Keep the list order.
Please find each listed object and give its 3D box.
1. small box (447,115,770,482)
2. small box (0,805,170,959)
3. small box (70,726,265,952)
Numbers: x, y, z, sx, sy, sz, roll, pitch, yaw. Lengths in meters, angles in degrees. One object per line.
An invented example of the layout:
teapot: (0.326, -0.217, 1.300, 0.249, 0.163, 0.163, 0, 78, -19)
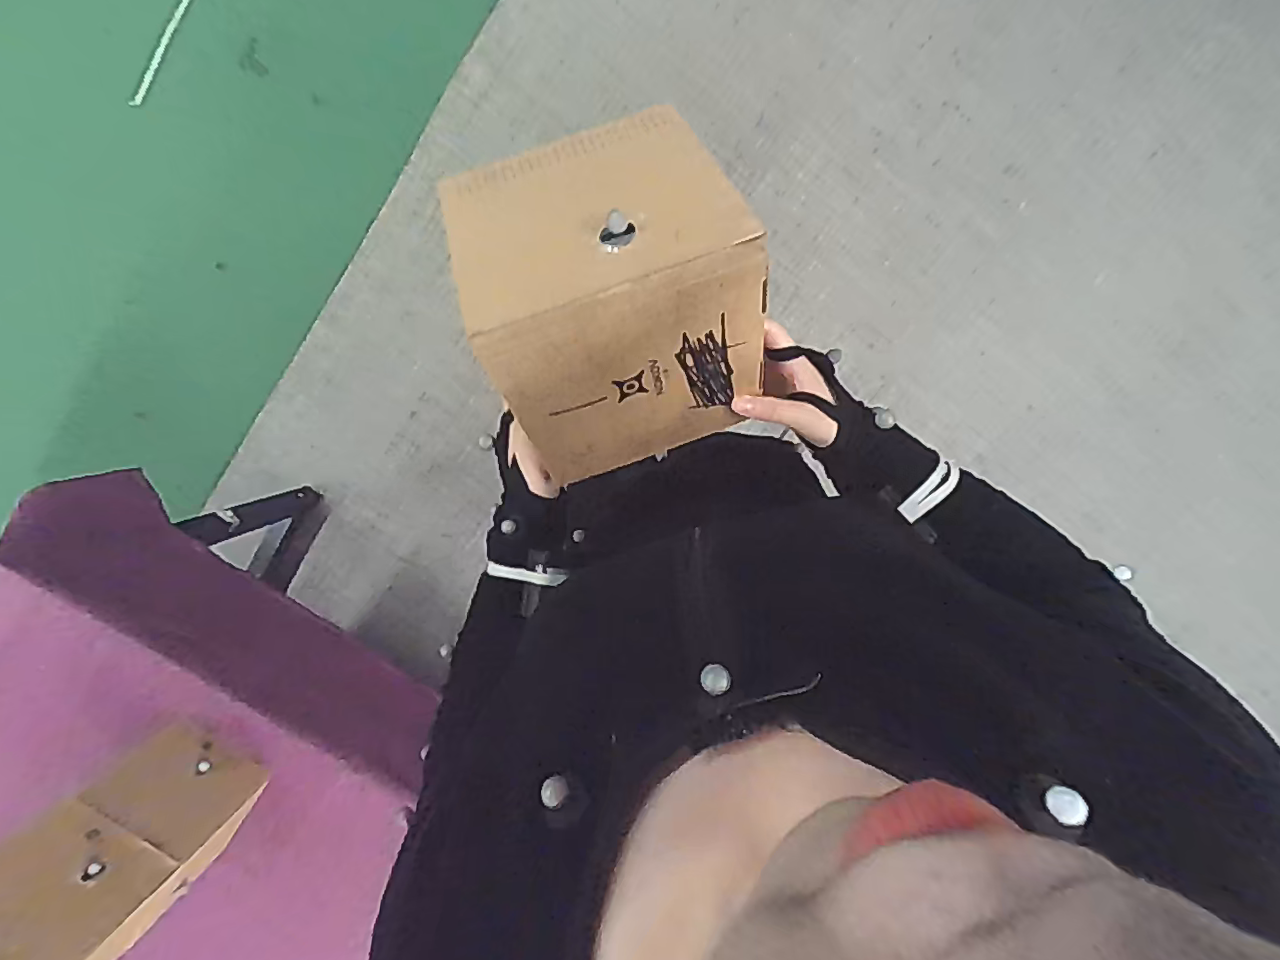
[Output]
small box: (-0.022, -0.131, 0.401, 0.179, 0.168, 0.176, -19, 58, -1)
small box: (-0.708, 0.532, 0.623, 0.168, 0.176, 0.179, 36, 99, -4)
small box: (-0.699, 0.506, 0.783, 0.168, 0.176, 0.179, 36, 99, -4)
